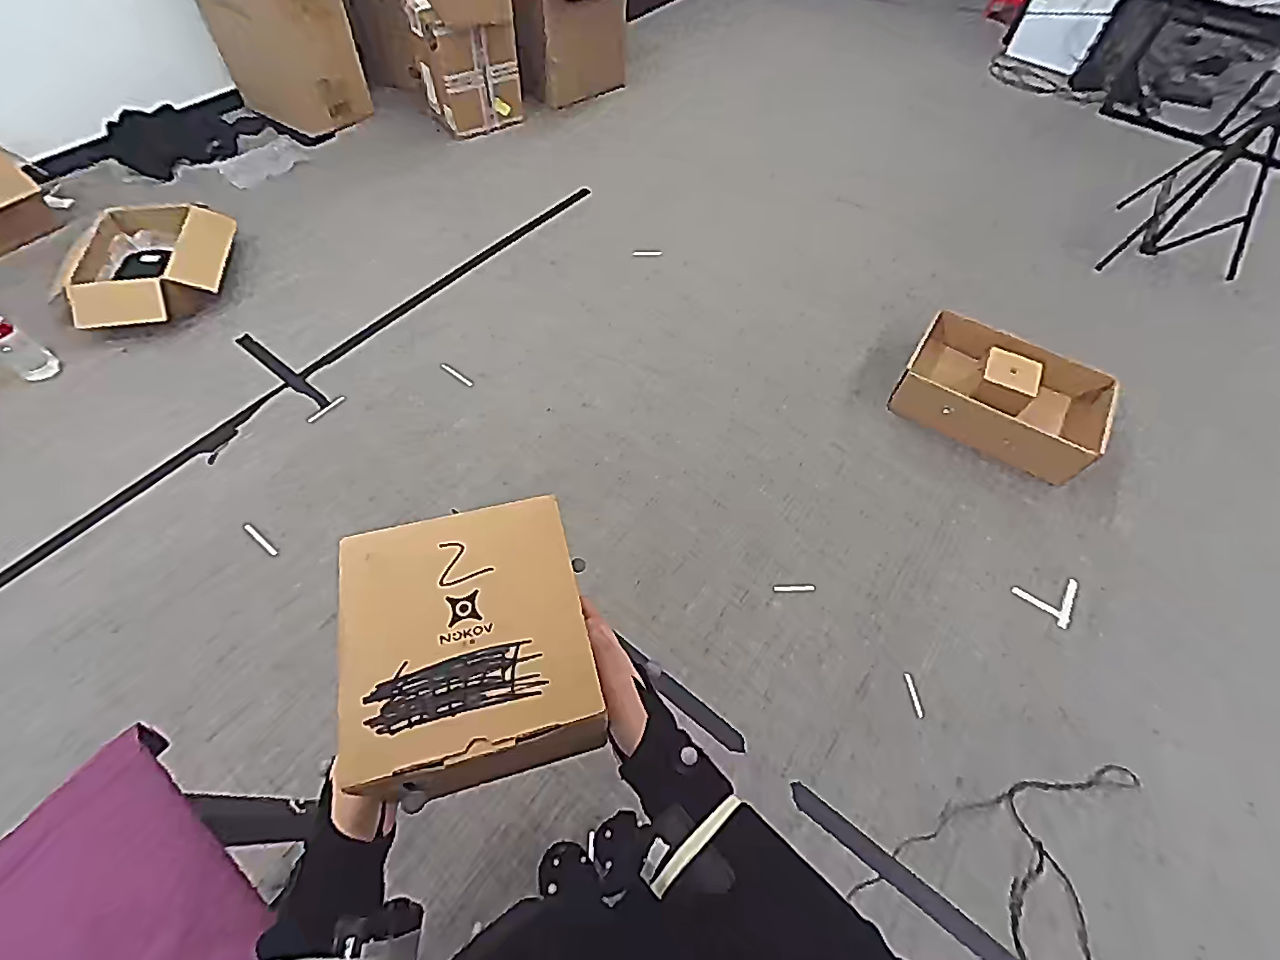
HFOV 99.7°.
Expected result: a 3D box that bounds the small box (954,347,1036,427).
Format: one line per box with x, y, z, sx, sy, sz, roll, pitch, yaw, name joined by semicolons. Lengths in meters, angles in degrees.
1.211;-0.317;1.852;0.168;0.176;0.179;25;60;14;small box
